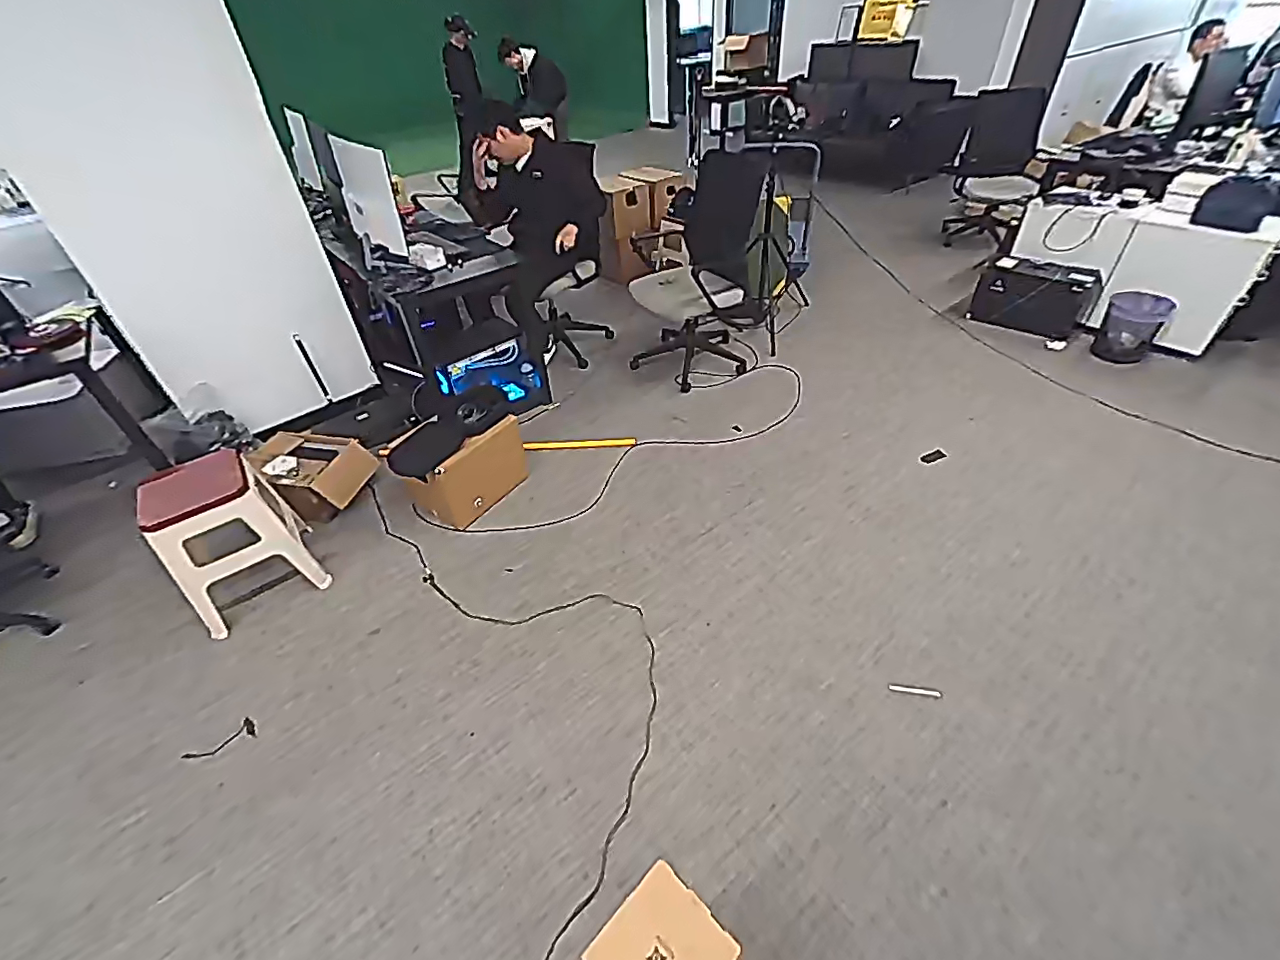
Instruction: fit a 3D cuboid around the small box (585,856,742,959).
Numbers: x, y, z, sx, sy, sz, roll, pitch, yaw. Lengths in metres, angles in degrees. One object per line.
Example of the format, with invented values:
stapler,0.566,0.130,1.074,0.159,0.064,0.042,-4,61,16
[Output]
small box,0.036,0.746,0.842,0.168,0.176,0.179,31,51,34
